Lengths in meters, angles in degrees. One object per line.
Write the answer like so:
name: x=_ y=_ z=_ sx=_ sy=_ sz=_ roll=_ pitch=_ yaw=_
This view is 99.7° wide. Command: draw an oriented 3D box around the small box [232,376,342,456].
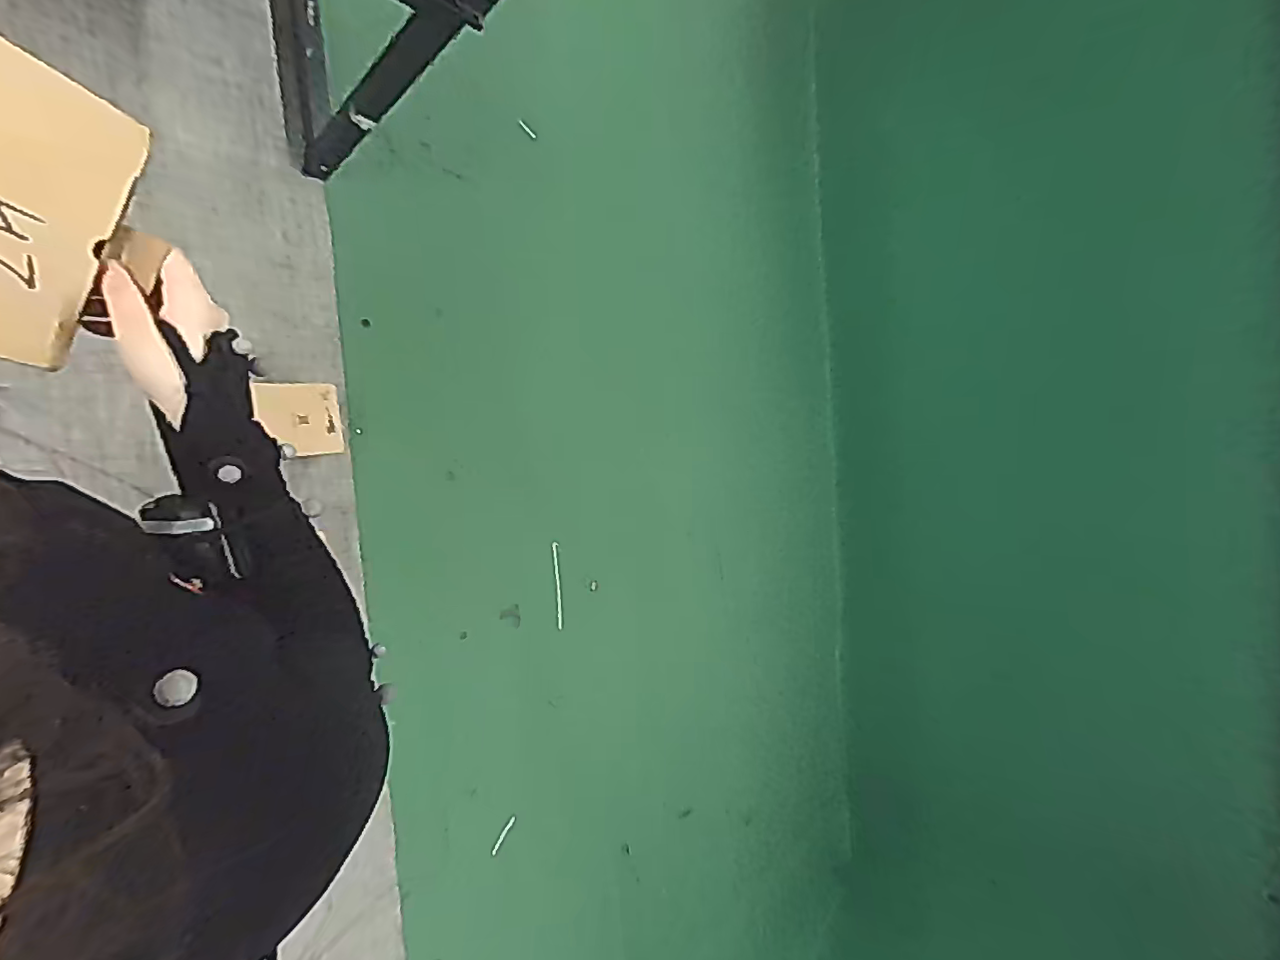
small box: x=-0.823 y=-0.145 z=1.254 sx=0.179 sy=0.176 sz=0.168 roll=-10 pitch=97 yaw=-47

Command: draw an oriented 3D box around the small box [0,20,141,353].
small box: x=-0.434 y=-0.189 z=0.287 sx=0.179 sy=0.176 sz=0.168 roll=23 pitch=89 yaw=-63
